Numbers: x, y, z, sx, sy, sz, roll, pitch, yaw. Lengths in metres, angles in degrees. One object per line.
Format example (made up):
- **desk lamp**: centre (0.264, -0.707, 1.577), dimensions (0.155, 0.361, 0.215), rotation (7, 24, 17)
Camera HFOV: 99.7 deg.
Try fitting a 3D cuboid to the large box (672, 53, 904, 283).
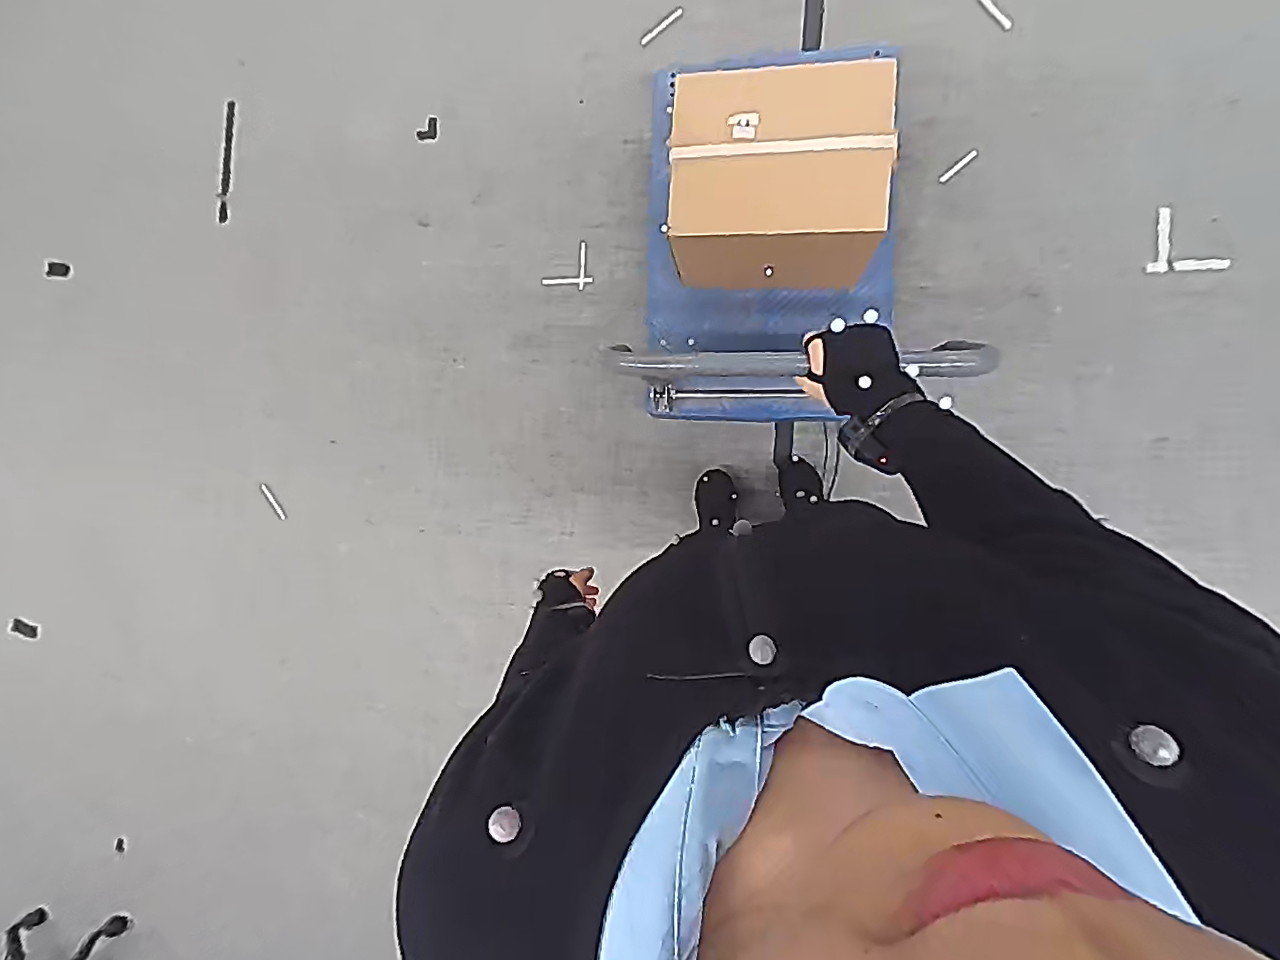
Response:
- **large box**: centre (0.296, -0.618, 1.142), dimensions (0.408, 0.320, 0.320), rotation (5, 90, 12)
